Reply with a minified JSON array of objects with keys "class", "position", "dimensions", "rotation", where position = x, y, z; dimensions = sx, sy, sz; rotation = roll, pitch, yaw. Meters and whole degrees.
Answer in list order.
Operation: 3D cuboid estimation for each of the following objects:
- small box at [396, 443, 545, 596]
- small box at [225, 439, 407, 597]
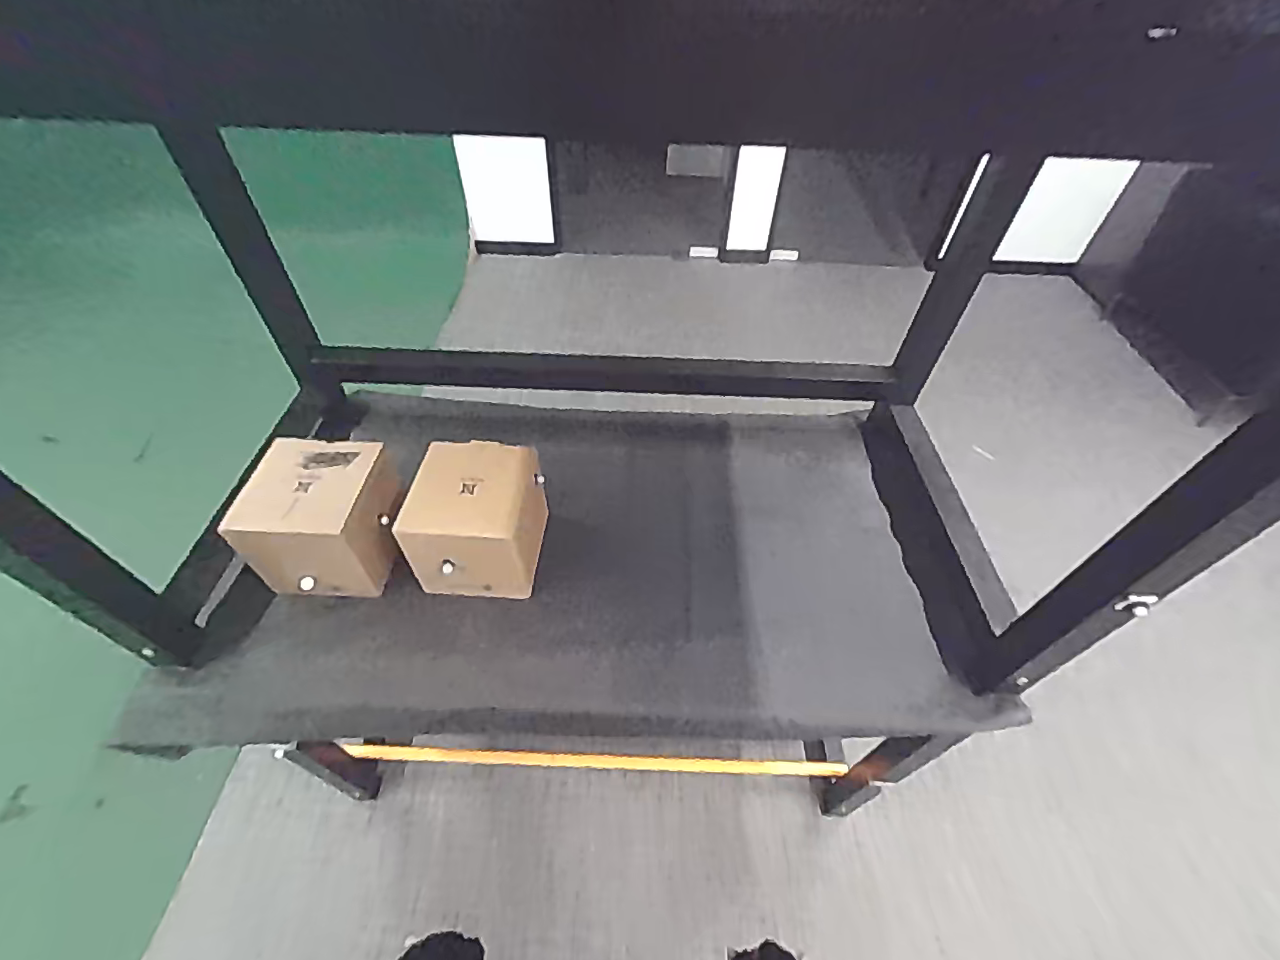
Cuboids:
[{"class":"small box","position":[-0.248,0.064,0.844],"dimensions":[0.168,0.176,0.179],"rotation":[3,47,0]},{"class":"small box","position":[-0.475,0.059,0.836],"dimensions":[0.168,0.176,0.179],"rotation":[2,48,0]}]
